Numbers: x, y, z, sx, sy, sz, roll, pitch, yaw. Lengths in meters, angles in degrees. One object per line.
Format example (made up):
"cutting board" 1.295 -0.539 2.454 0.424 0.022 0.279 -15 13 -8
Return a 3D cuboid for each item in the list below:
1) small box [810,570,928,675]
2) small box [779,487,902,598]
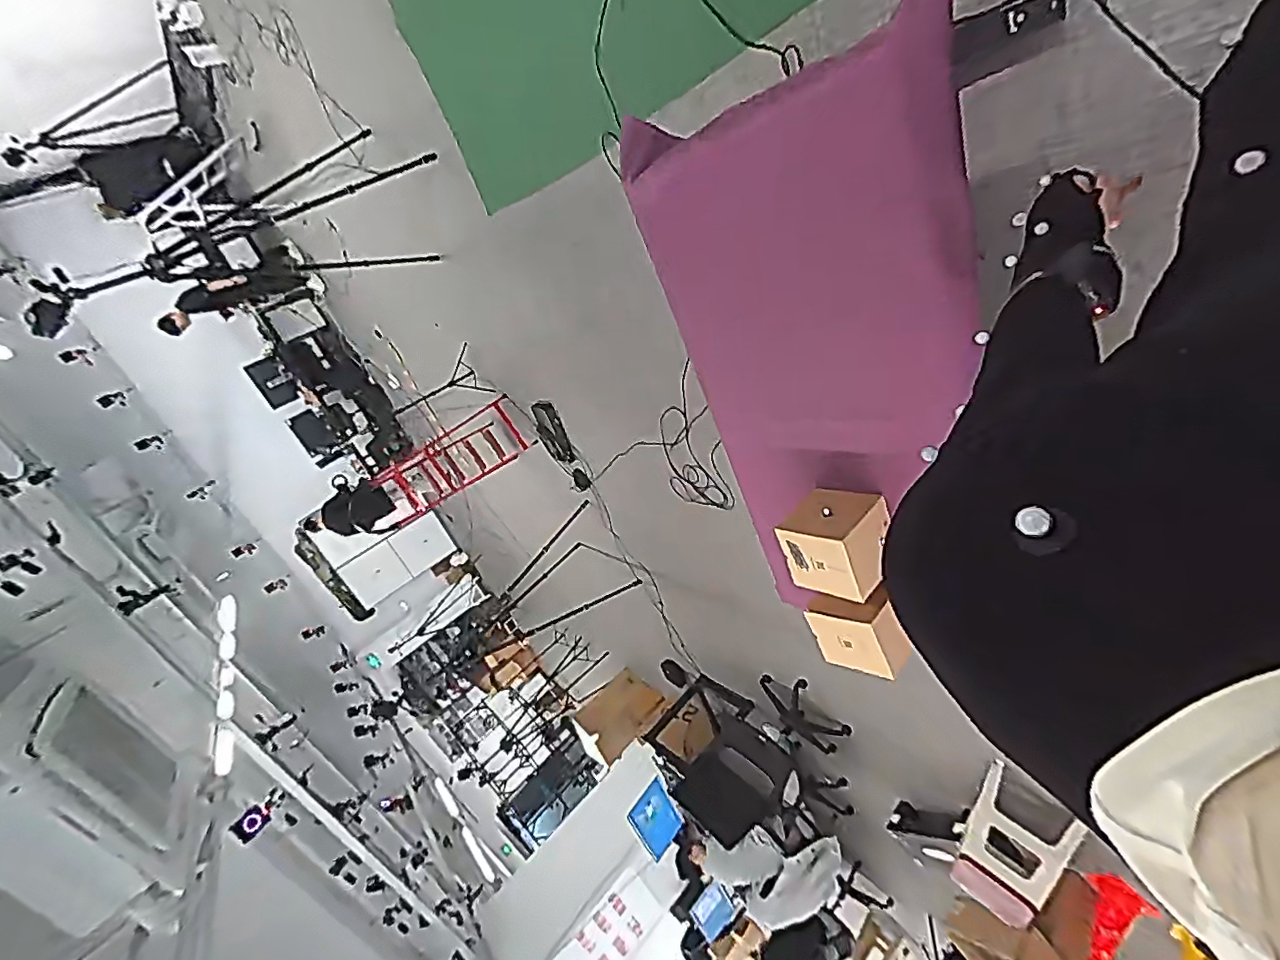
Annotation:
"small box" 0.544 0.320 1.283 0.179 0.176 0.168 2 124 57
"small box" 0.448 0.129 1.204 0.179 0.176 0.168 8 129 54
